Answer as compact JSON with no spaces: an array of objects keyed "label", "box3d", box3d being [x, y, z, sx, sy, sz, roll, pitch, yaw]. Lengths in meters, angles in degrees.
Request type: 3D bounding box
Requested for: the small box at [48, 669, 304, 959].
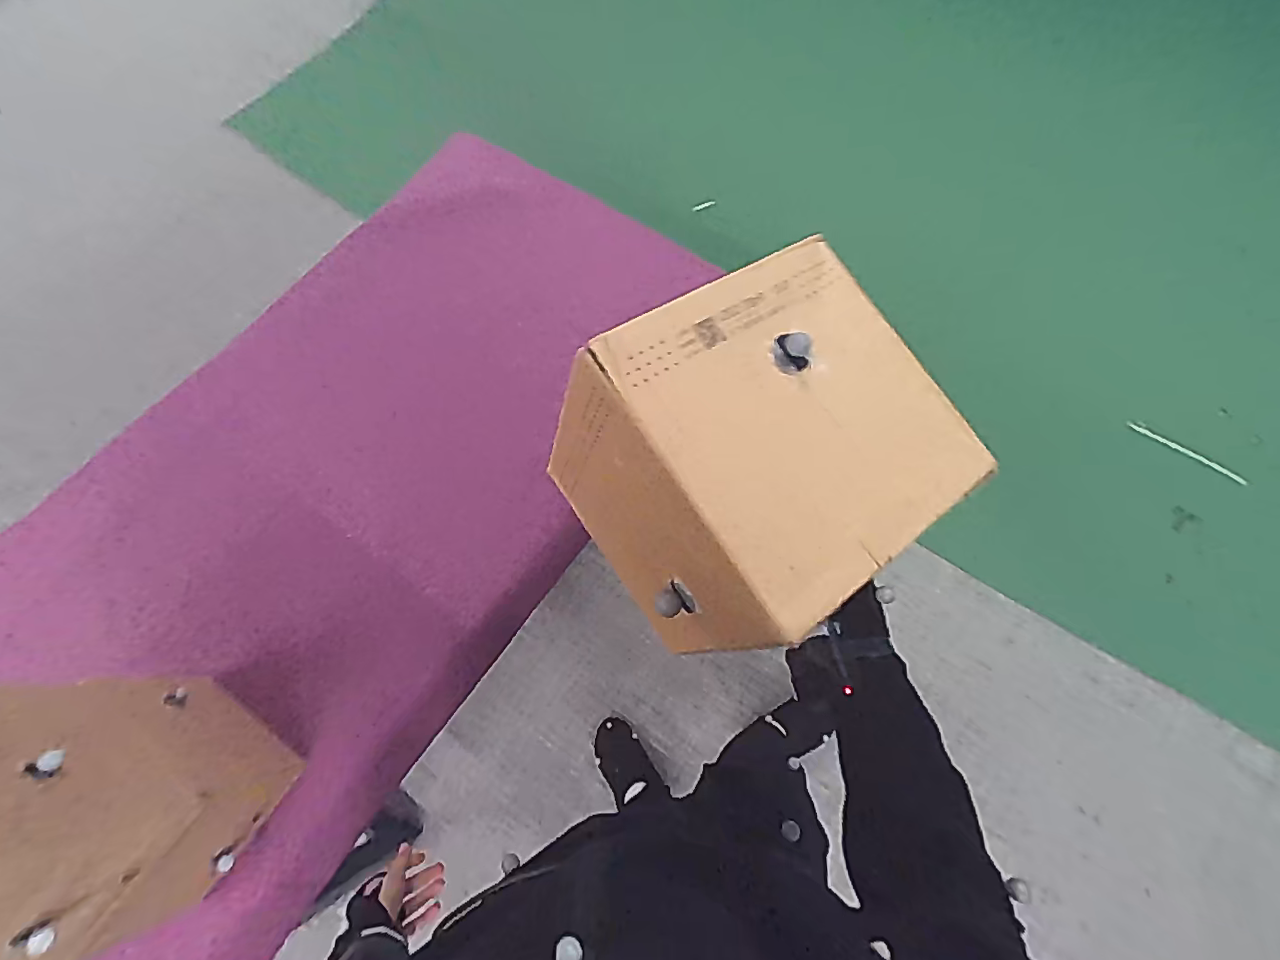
[{"label":"small box","box3d":[-0.505,0.318,0.556,0.179,0.176,0.168,32,74,12]}]
